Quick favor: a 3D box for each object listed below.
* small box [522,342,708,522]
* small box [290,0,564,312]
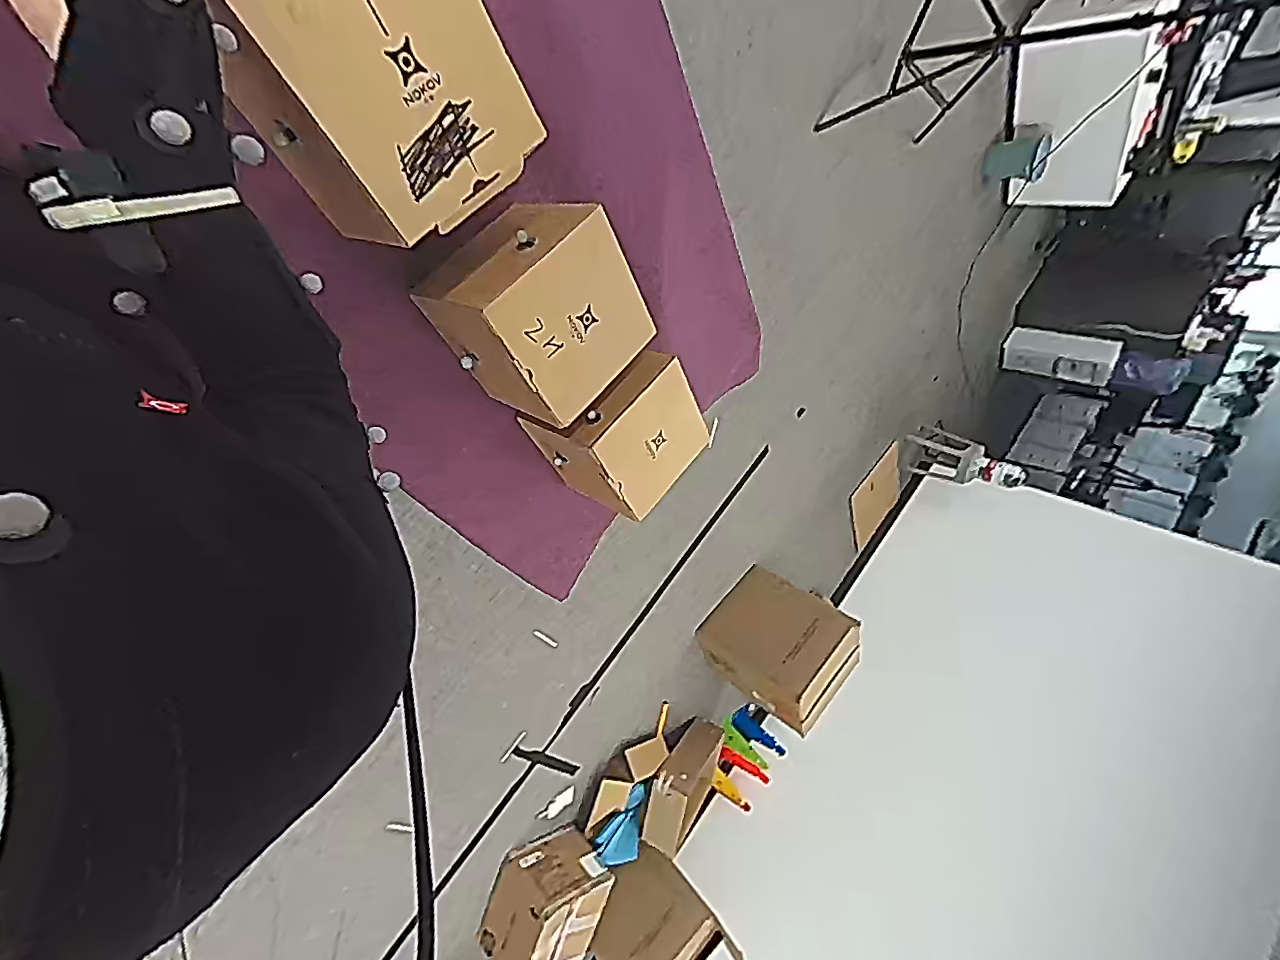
[{"bbox_3d":[-0.035,-0.077,0.782,0.179,0.176,0.168,-48,137,-17],"label":"small box"},{"bbox_3d":[-0.187,-0.294,0.487,0.168,0.176,0.179,-32,143,27],"label":"small box"}]
